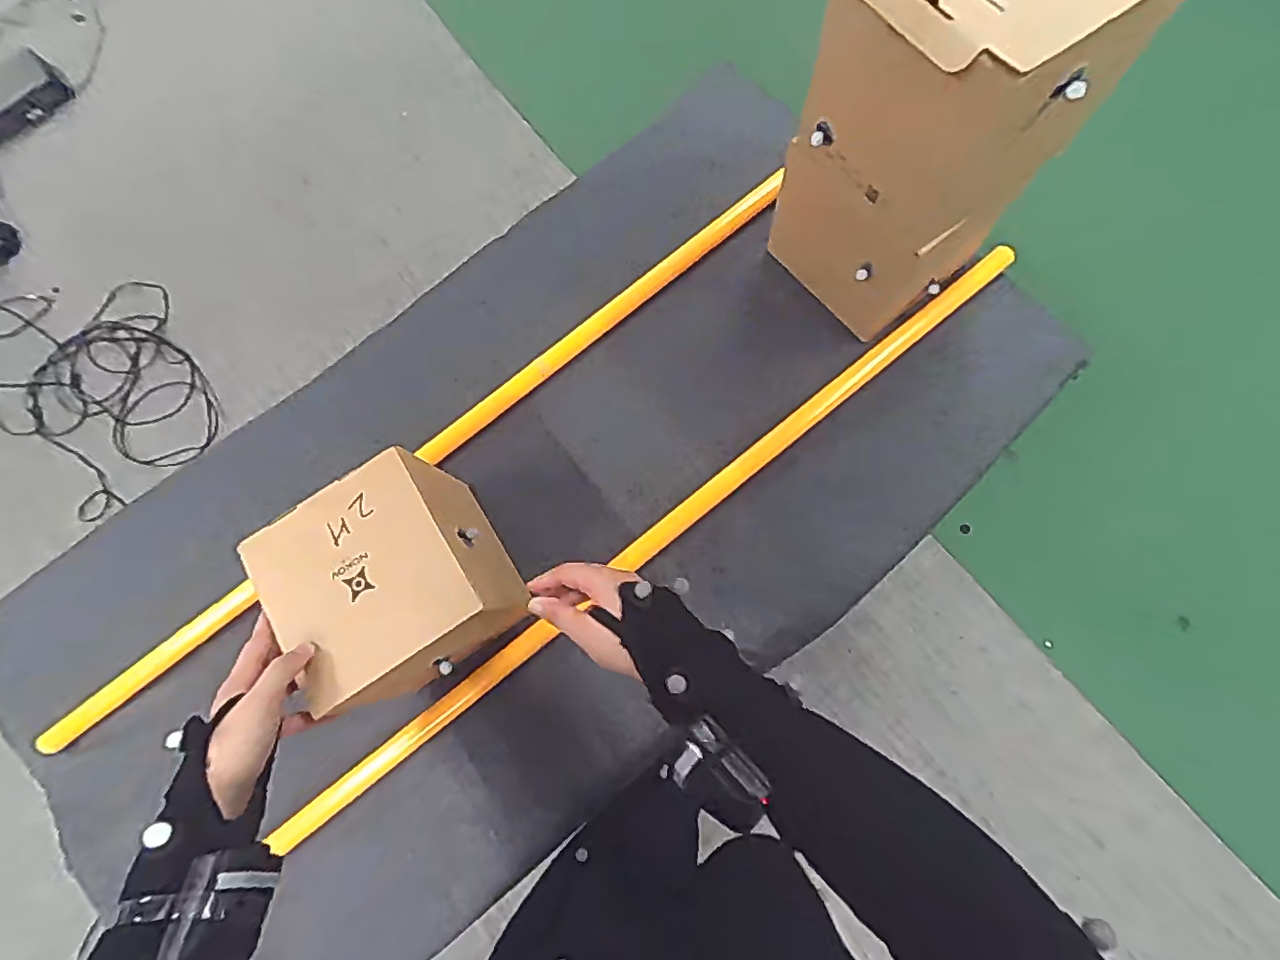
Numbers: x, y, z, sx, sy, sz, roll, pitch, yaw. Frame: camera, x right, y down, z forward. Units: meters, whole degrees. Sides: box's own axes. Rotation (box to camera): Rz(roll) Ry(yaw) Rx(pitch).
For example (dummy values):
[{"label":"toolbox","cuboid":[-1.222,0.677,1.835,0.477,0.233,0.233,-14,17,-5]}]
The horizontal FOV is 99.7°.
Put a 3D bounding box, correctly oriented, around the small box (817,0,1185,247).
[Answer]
[{"label":"small box","cuboid":[0.262,-0.327,0.428,0.179,0.176,0.168,-34,76,-4]}]
